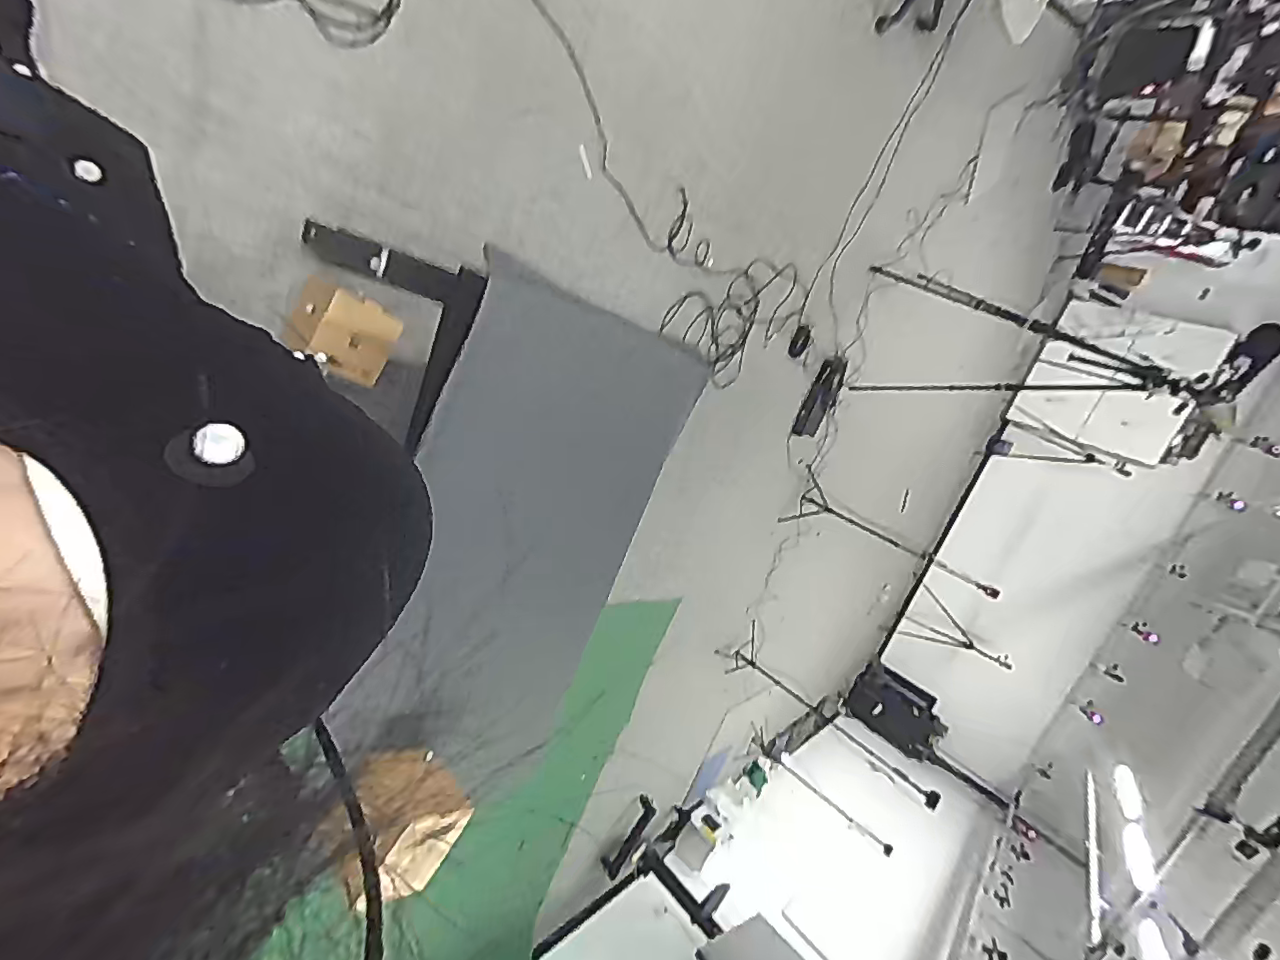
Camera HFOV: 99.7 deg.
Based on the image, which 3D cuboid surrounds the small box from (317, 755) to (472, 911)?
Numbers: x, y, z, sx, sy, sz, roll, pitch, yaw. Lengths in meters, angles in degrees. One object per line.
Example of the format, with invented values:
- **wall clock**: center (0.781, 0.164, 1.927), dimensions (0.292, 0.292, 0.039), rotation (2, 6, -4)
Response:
- **small box**: center (-0.461, 0.638, 1.011), dimensions (0.179, 0.176, 0.168), rotation (-57, 146, -5)

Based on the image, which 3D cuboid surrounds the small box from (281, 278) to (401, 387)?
- **small box**: center (-0.708, -0.349, 1.275), dimensions (0.168, 0.176, 0.179), rotation (26, 94, -53)
